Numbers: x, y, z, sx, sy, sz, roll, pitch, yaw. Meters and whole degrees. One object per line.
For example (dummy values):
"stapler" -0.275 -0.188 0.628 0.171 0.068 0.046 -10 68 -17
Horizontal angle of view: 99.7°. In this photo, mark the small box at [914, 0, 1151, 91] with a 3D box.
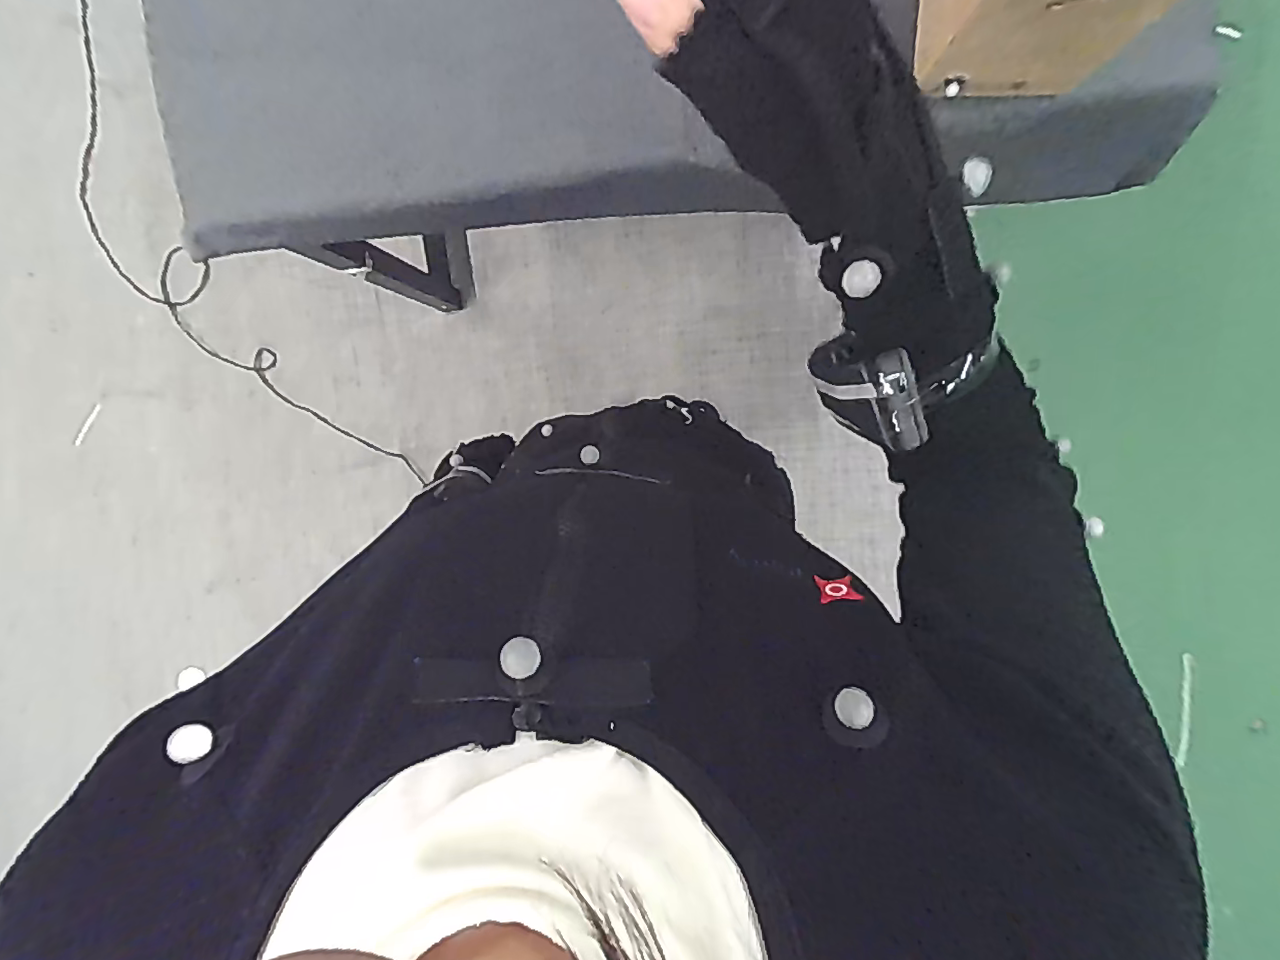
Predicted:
"small box" 0.385 -0.511 0.521 0.168 0.176 0.179 3 97 4
